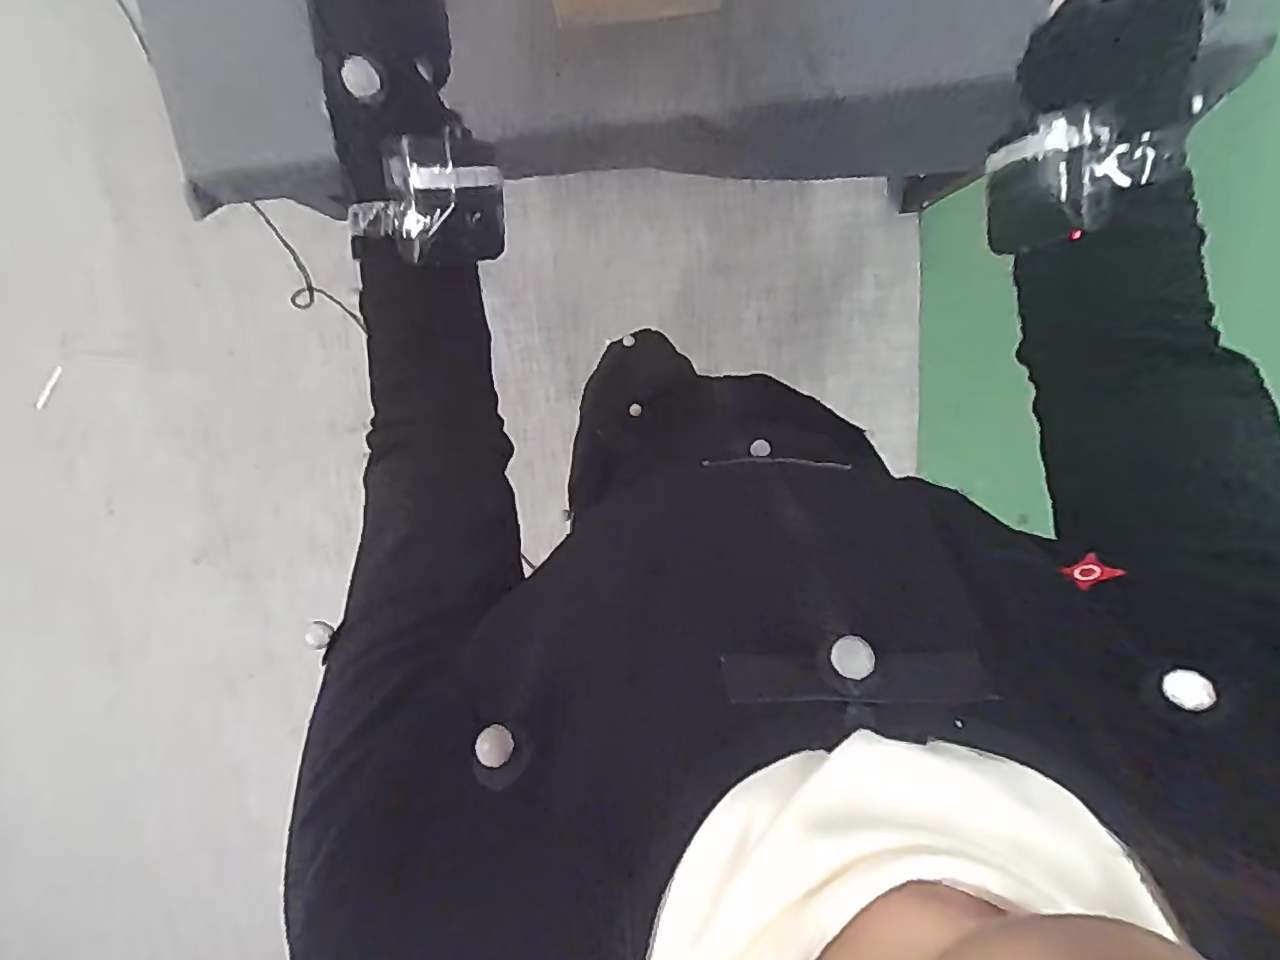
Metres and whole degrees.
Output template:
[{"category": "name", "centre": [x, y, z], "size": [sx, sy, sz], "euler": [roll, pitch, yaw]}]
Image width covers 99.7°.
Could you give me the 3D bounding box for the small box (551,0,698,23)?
[{"category": "small box", "centre": [-0.013, -0.562, 0.488], "size": [0.179, 0.176, 0.168], "euler": [-6, 102, 3]}]
